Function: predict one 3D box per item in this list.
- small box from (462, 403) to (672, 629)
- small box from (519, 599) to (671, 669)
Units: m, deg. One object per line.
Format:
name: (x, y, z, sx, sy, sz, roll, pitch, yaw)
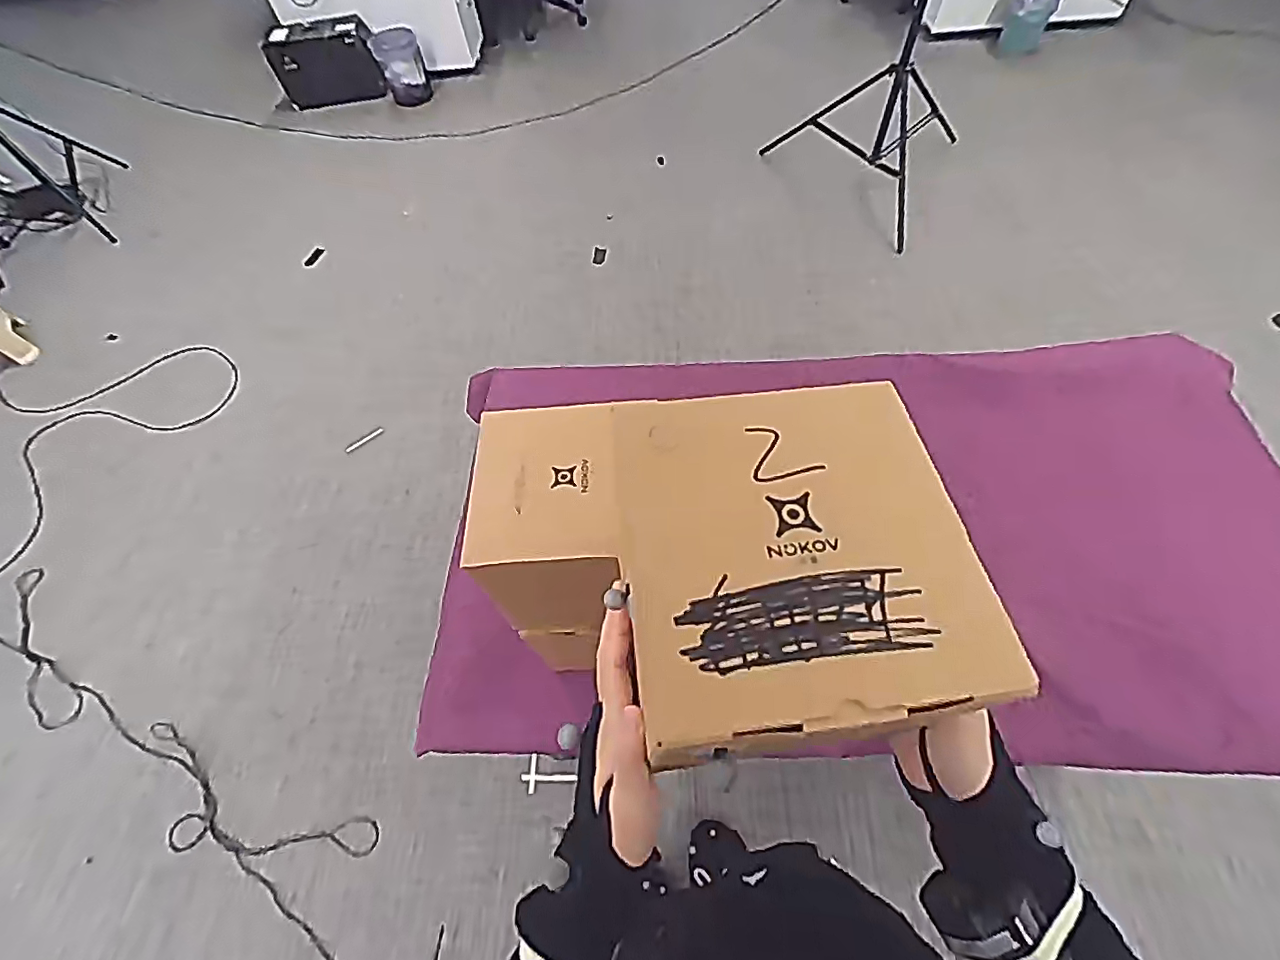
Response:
small box: (-0.059, 0.043, 0.552, 0.179, 0.176, 0.168, -5, 57, 2)
small box: (-0.047, 0.130, 0.689, 0.168, 0.176, 0.179, -4, 58, 3)
